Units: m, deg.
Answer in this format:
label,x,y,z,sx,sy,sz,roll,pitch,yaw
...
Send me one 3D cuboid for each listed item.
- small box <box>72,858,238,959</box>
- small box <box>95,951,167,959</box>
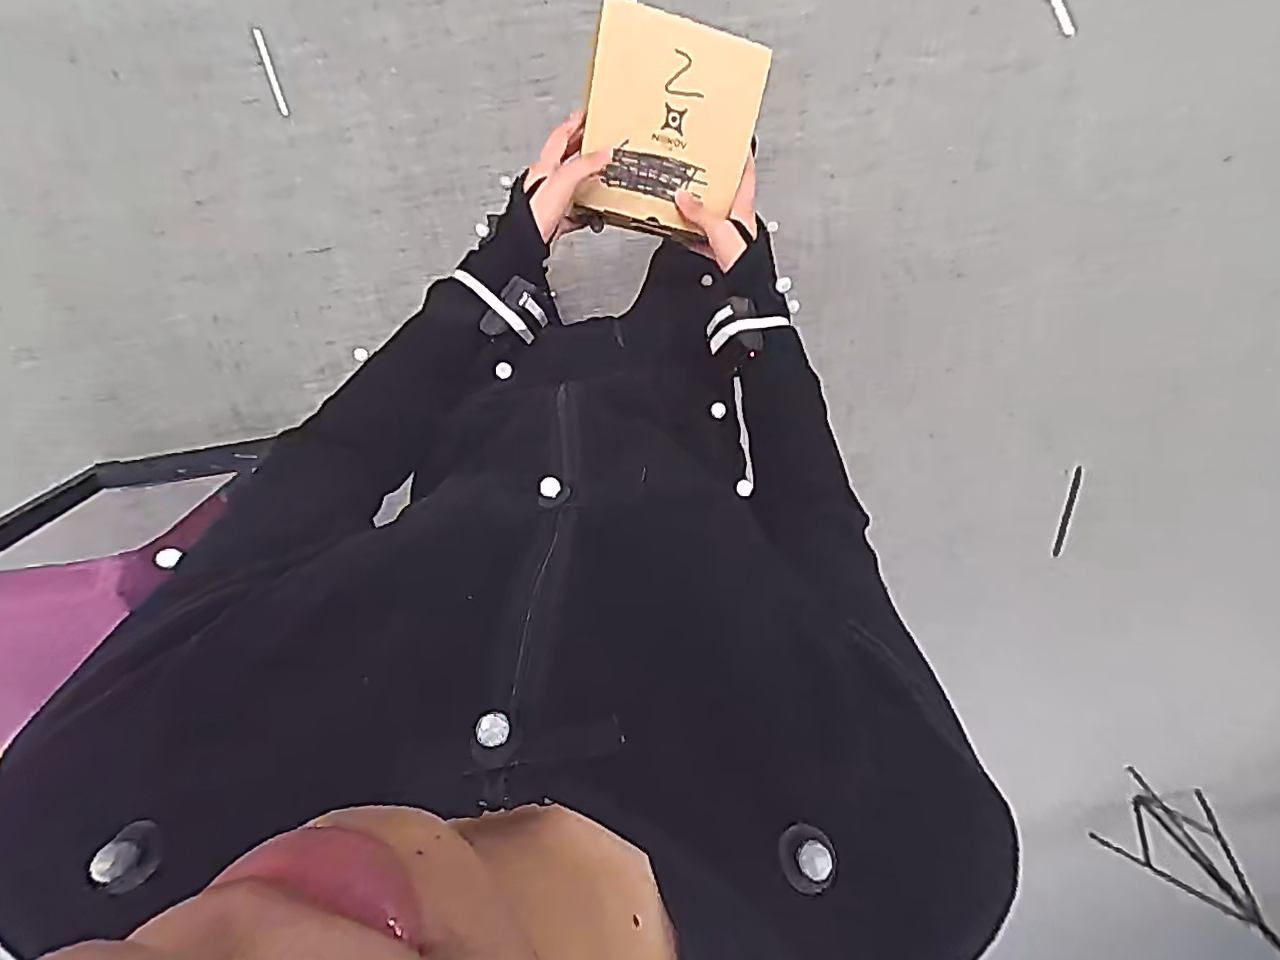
label,x,y,z,sx,sy,sz,roll,pitch,yaw
small box,-1.032,0.961,1.170,0.179,0.176,0.168,-9,118,-3
small box,-1.013,1.038,1.025,0.179,0.176,0.168,-13,118,0
